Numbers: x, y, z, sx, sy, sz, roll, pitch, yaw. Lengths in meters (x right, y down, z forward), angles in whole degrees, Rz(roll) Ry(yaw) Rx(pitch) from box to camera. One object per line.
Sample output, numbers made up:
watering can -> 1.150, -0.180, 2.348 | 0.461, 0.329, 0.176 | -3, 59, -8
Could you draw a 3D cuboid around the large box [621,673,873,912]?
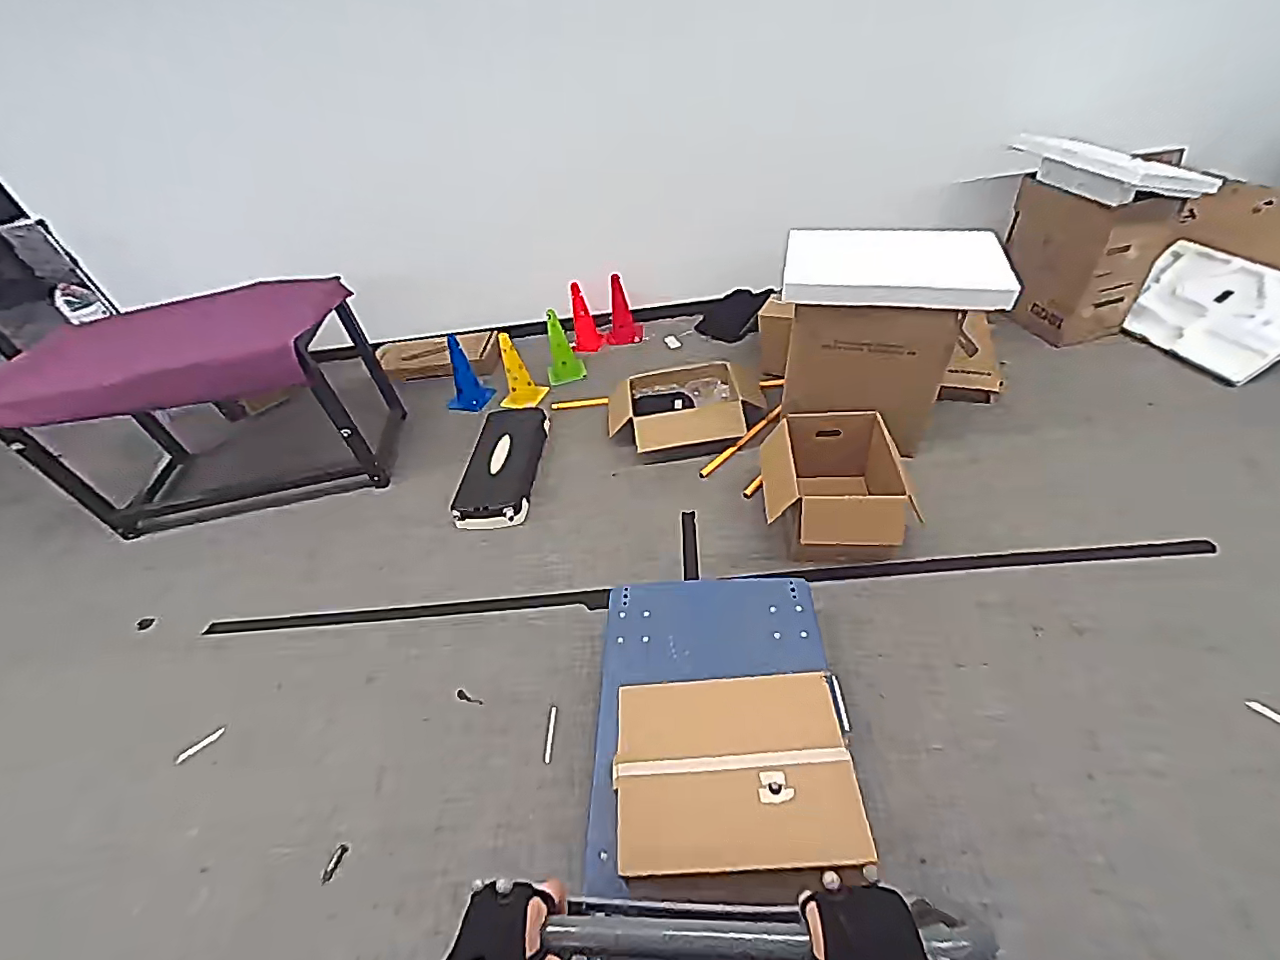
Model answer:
large box -> 0.179, 0.612, 1.059 | 0.408, 0.320, 0.320 | -6, 43, 3
